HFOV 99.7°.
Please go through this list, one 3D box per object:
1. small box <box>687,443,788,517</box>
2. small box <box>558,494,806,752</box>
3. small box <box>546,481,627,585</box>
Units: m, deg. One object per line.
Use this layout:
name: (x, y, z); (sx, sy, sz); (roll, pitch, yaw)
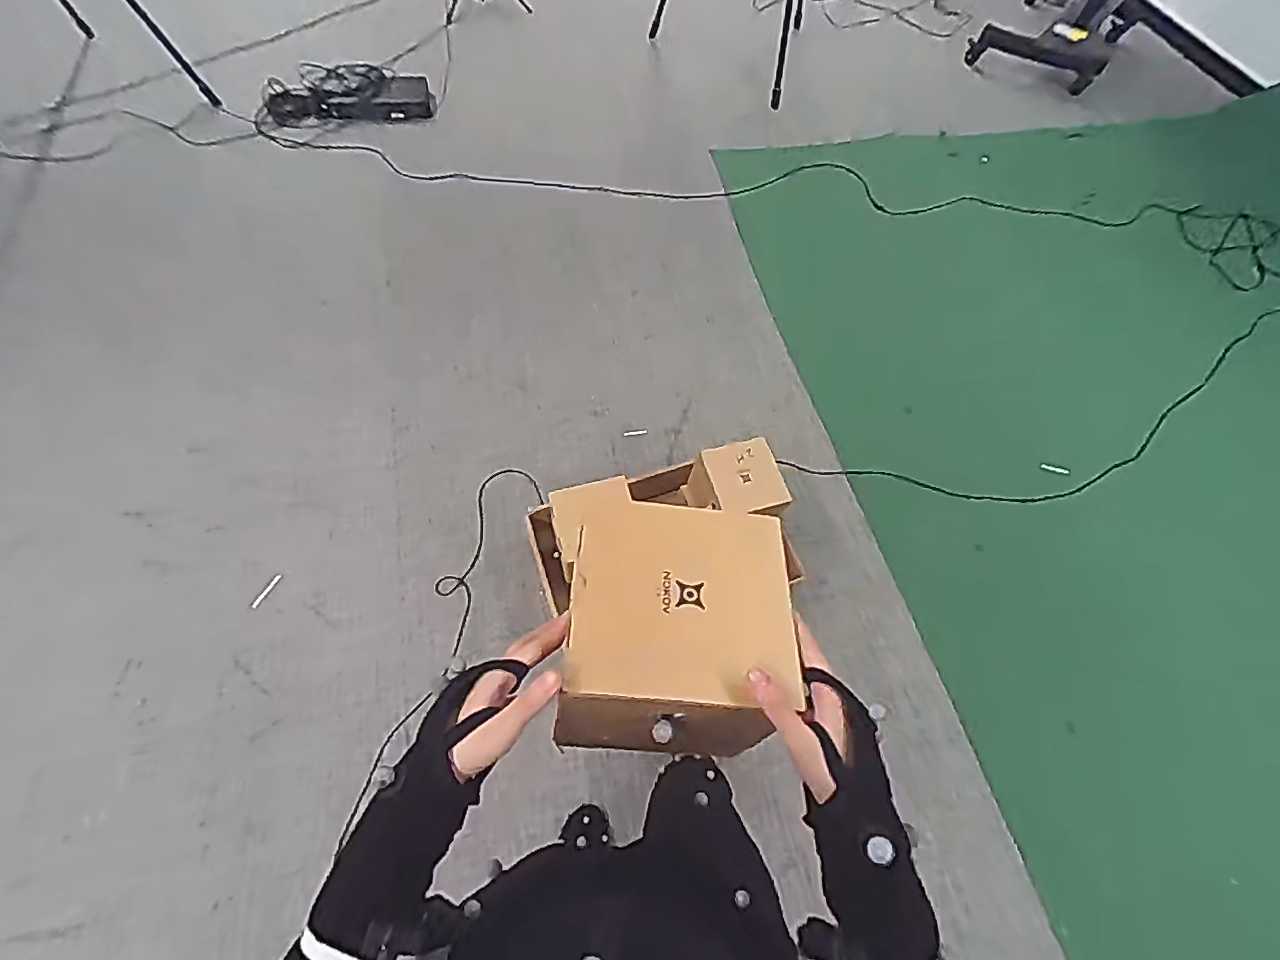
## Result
small box: (0.225, 0.039, 1.291); (0.168, 0.176, 0.179); (-12, 65, -12)
small box: (0.025, 0.135, 0.484); (0.179, 0.176, 0.168); (7, 51, -4)
small box: (-0.107, 0.124, 1.217); (0.179, 0.176, 0.168); (-12, 66, -12)
